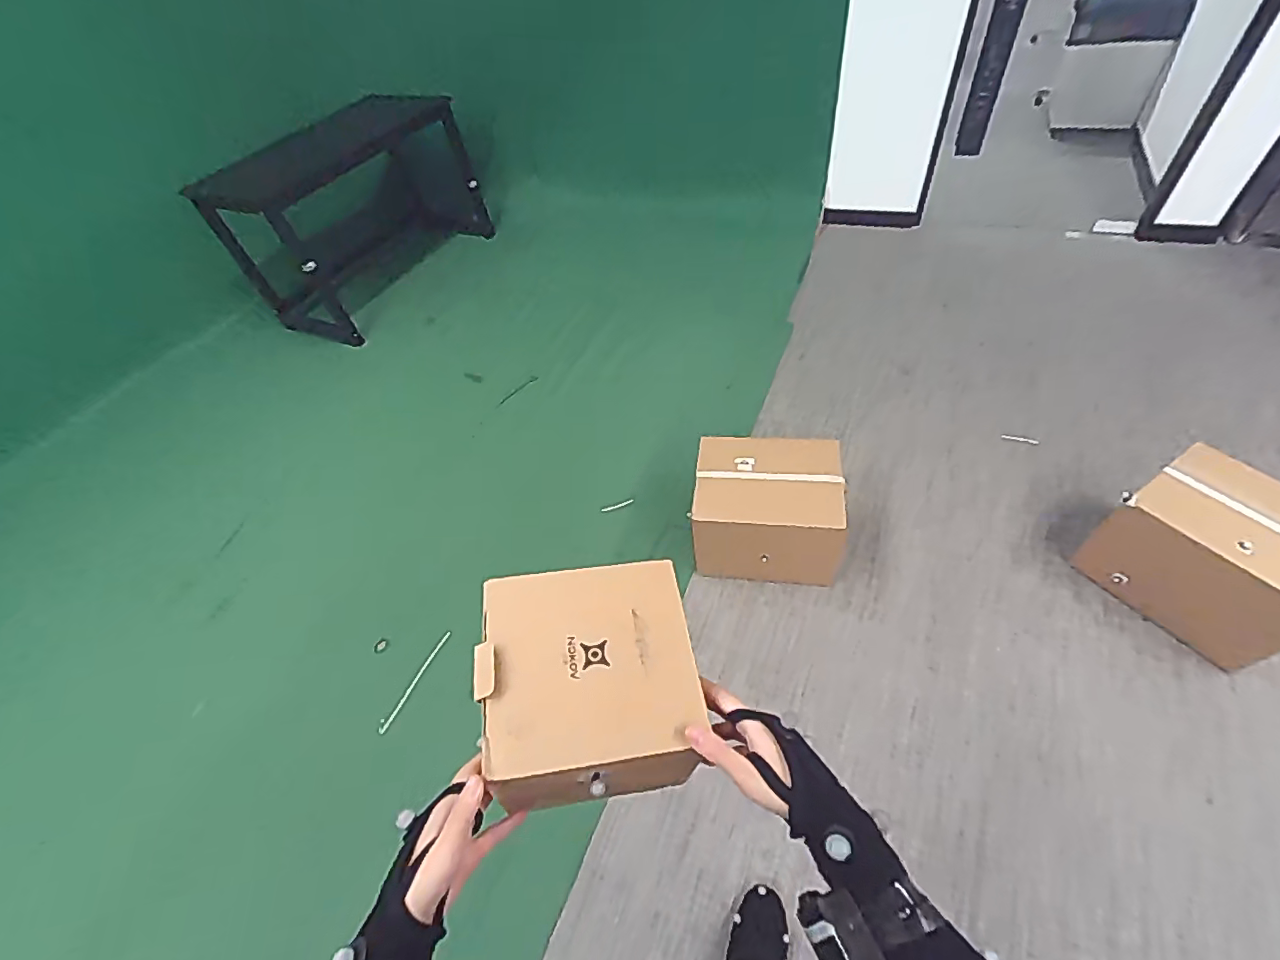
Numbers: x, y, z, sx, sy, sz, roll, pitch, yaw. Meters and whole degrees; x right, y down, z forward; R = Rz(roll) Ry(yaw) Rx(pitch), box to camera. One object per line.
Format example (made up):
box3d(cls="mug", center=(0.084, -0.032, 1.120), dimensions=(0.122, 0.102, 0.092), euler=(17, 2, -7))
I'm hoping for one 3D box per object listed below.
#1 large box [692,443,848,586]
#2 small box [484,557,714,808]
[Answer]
box3d(cls="large box", center=(0.380, 0.103, 1.615), dimensions=(0.408, 0.320, 0.320), euler=(1, 50, 13))
box3d(cls="small box", center=(-0.044, 0.193, 0.511), dimensions=(0.179, 0.176, 0.168), euler=(-5, 52, -9))
